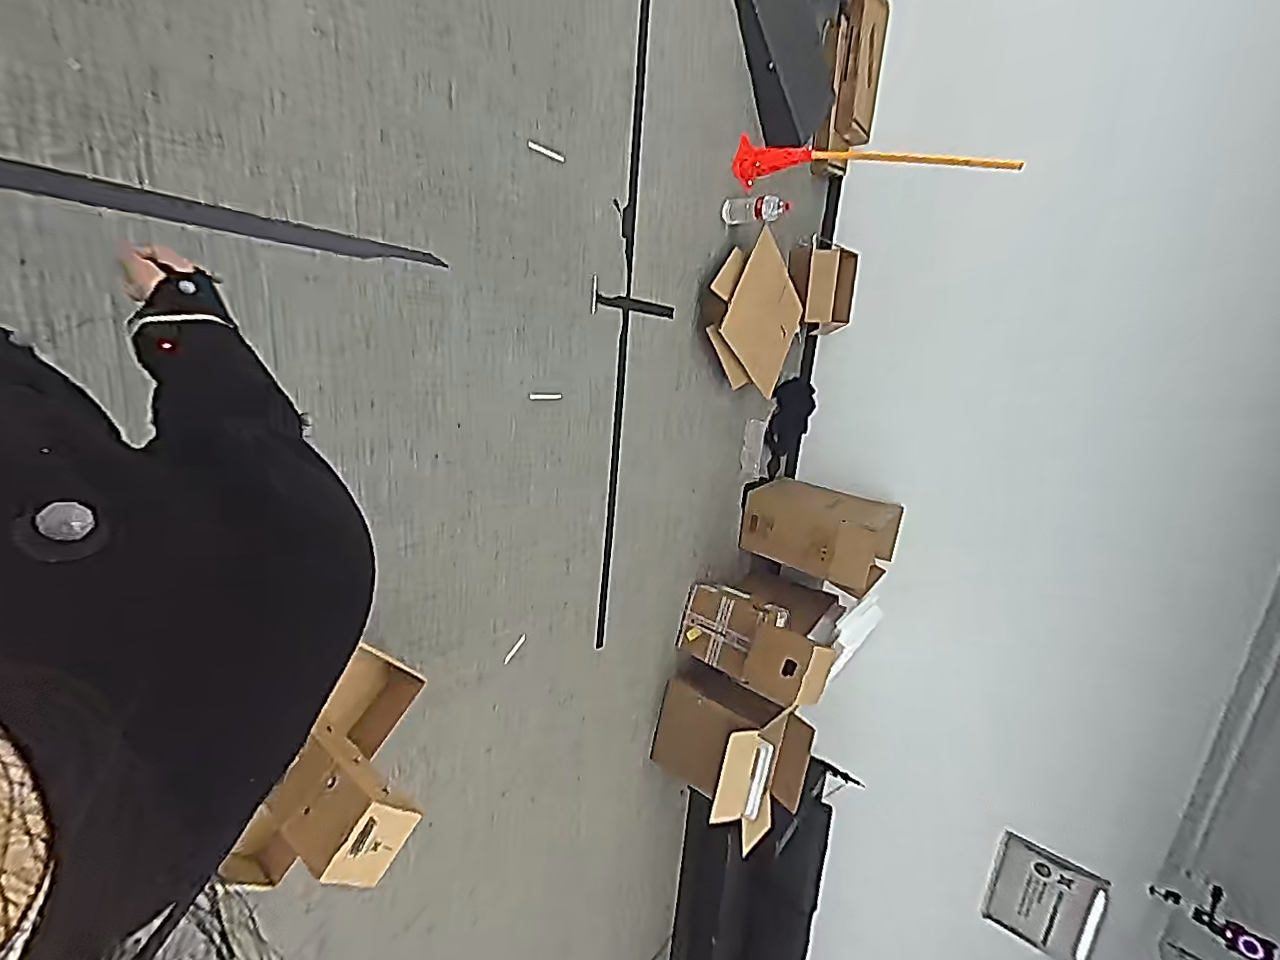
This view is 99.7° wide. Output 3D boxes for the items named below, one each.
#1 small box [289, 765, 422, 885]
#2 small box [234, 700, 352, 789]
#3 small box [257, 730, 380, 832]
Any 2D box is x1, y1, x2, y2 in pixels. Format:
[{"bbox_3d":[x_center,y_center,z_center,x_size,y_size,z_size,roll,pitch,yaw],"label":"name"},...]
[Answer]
[{"bbox_3d":[-0.653,0.785,1.240,0.168,0.176,0.179,-56,142,-24],"label":"small box"},{"bbox_3d":[-0.911,0.710,1.425,0.168,0.176,0.179,-55,140,-26],"label":"small box"},{"bbox_3d":[-0.784,0.747,1.331,0.168,0.176,0.179,-56,140,-25],"label":"small box"}]
